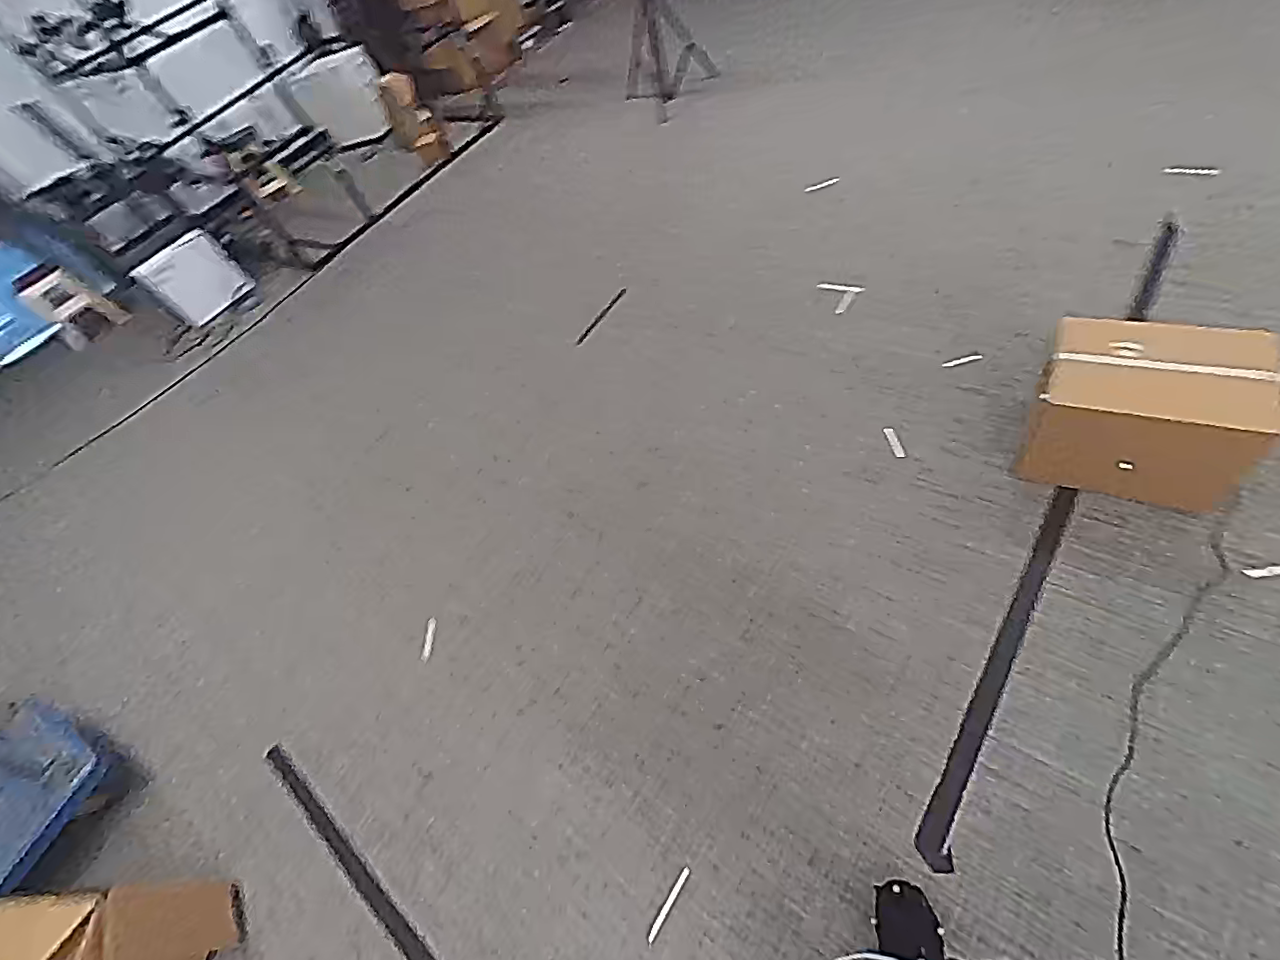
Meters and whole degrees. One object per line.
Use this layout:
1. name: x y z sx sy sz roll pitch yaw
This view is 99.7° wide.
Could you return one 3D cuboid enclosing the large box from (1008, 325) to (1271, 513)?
1. large box: 1.215 -0.158 1.361 0.408 0.320 0.320 14 60 29
